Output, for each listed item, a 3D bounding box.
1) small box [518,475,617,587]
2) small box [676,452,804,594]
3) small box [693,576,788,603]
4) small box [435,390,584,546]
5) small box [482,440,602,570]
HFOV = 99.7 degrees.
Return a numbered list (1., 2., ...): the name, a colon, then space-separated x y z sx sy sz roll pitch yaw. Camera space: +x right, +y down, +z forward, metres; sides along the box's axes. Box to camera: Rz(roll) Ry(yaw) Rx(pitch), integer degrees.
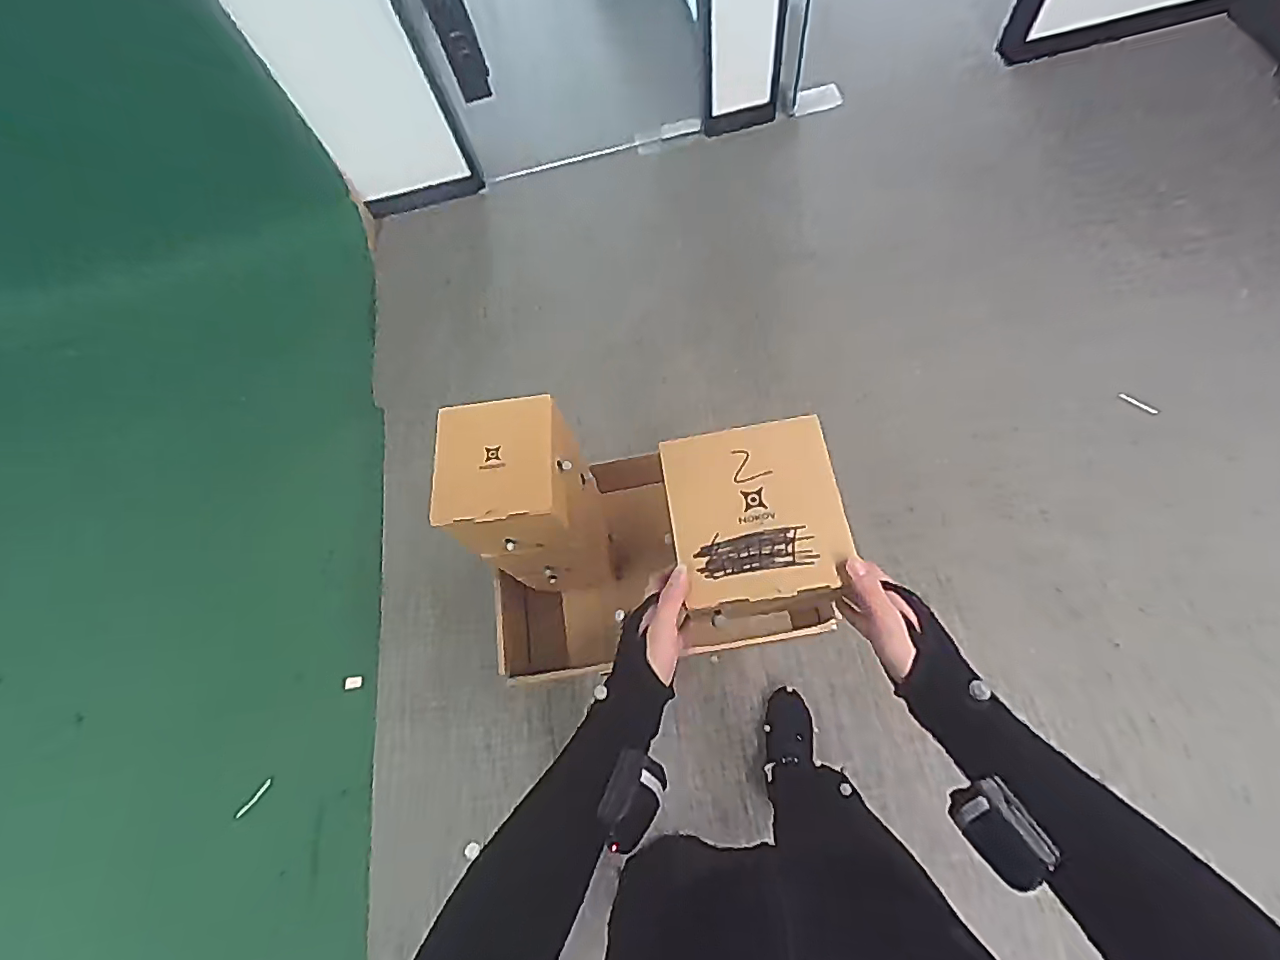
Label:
1. small box: -0.145 0.109 1.103 0.168 0.176 0.179 -9 68 4
2. small box: 0.157 0.077 0.895 0.168 0.176 0.179 -11 68 4
3. small box: 0.179 0.135 1.046 0.168 0.176 0.179 -11 67 3
4. small box: -0.182 -0.011 0.802 0.168 0.176 0.179 -6 69 6
5. small box: -0.164 0.049 0.952 0.168 0.176 0.179 -7 68 6
